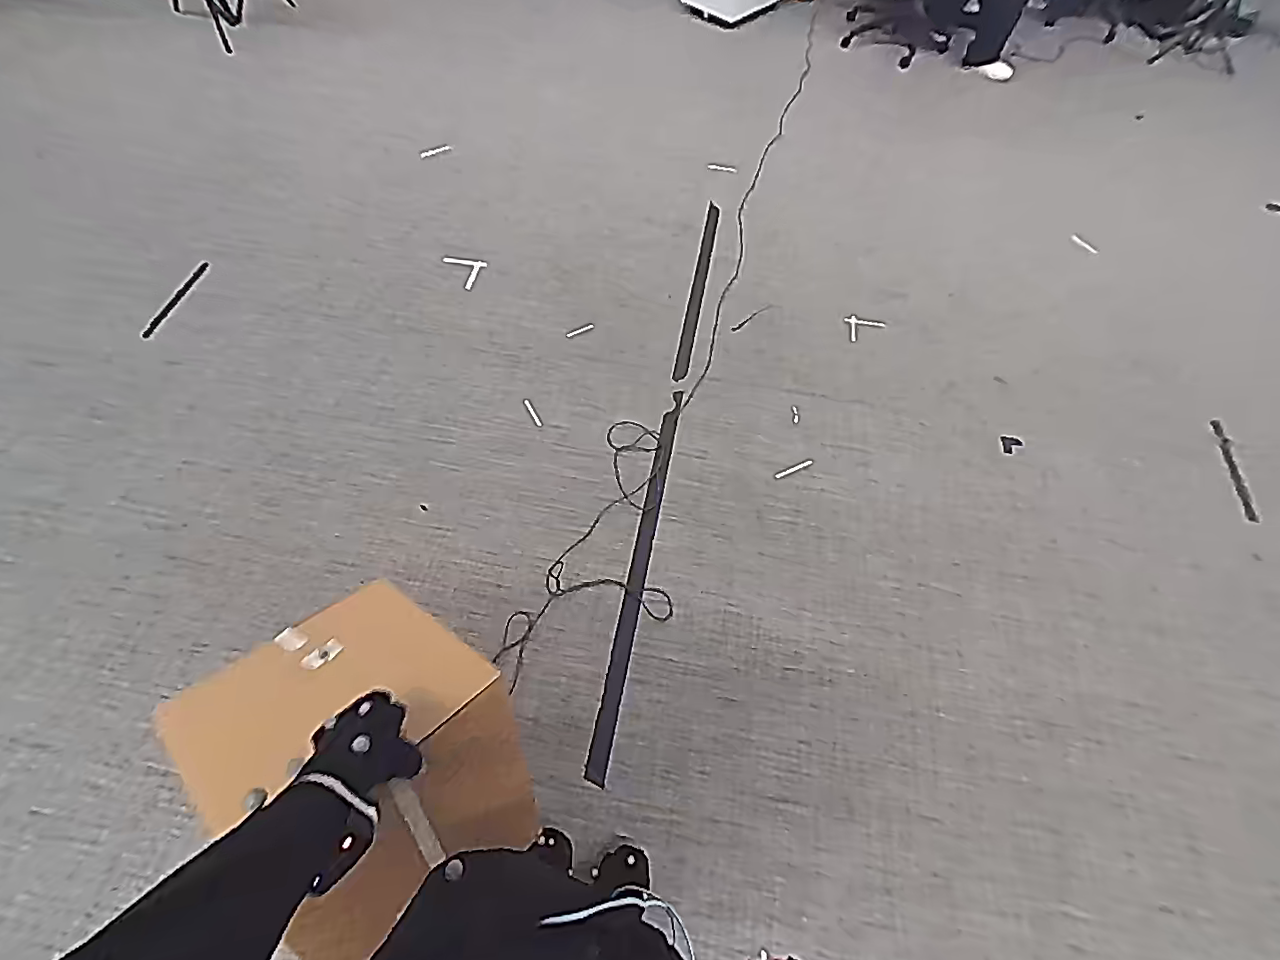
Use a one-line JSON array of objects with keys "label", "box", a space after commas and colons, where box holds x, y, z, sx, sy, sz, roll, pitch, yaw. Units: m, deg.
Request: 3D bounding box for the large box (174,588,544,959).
[{"label": "large box", "box": [-0.377, 0.445, 0.798, 0.320, 0.408, 0.320, 25, 40, 34]}]
